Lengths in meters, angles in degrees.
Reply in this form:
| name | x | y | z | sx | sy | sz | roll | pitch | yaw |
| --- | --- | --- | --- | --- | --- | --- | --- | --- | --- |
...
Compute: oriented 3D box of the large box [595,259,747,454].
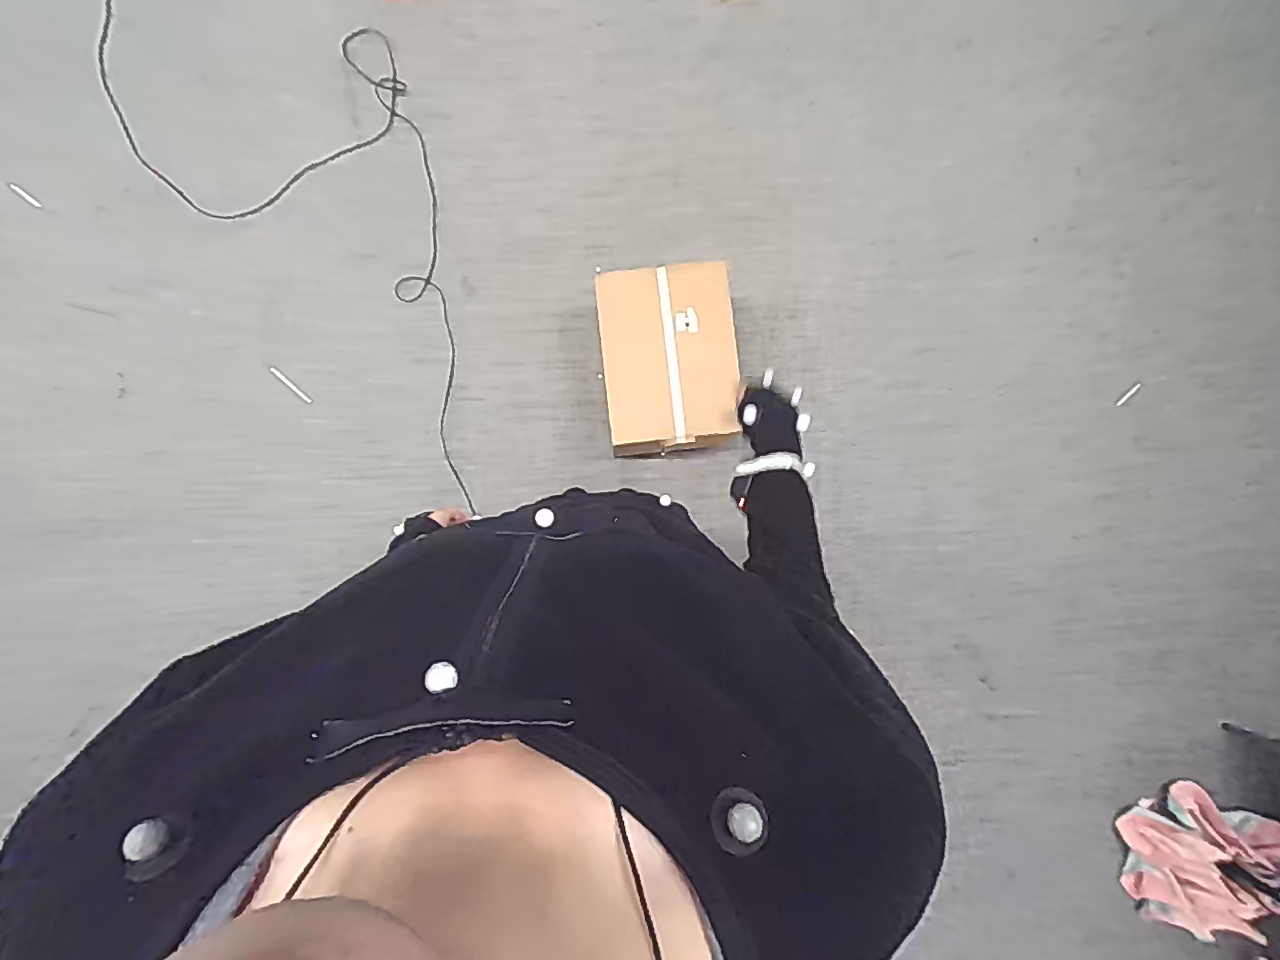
| name | x | y | z | sx | sy | sz | roll | pitch | yaw |
| --- | --- | --- | --- | --- | --- | --- | --- | --- | --- |
| large box | 0.067 | -0.295 | 1.395 | 0.320 | 0.320 | 0.408 | -6 | 87 | -3 |
